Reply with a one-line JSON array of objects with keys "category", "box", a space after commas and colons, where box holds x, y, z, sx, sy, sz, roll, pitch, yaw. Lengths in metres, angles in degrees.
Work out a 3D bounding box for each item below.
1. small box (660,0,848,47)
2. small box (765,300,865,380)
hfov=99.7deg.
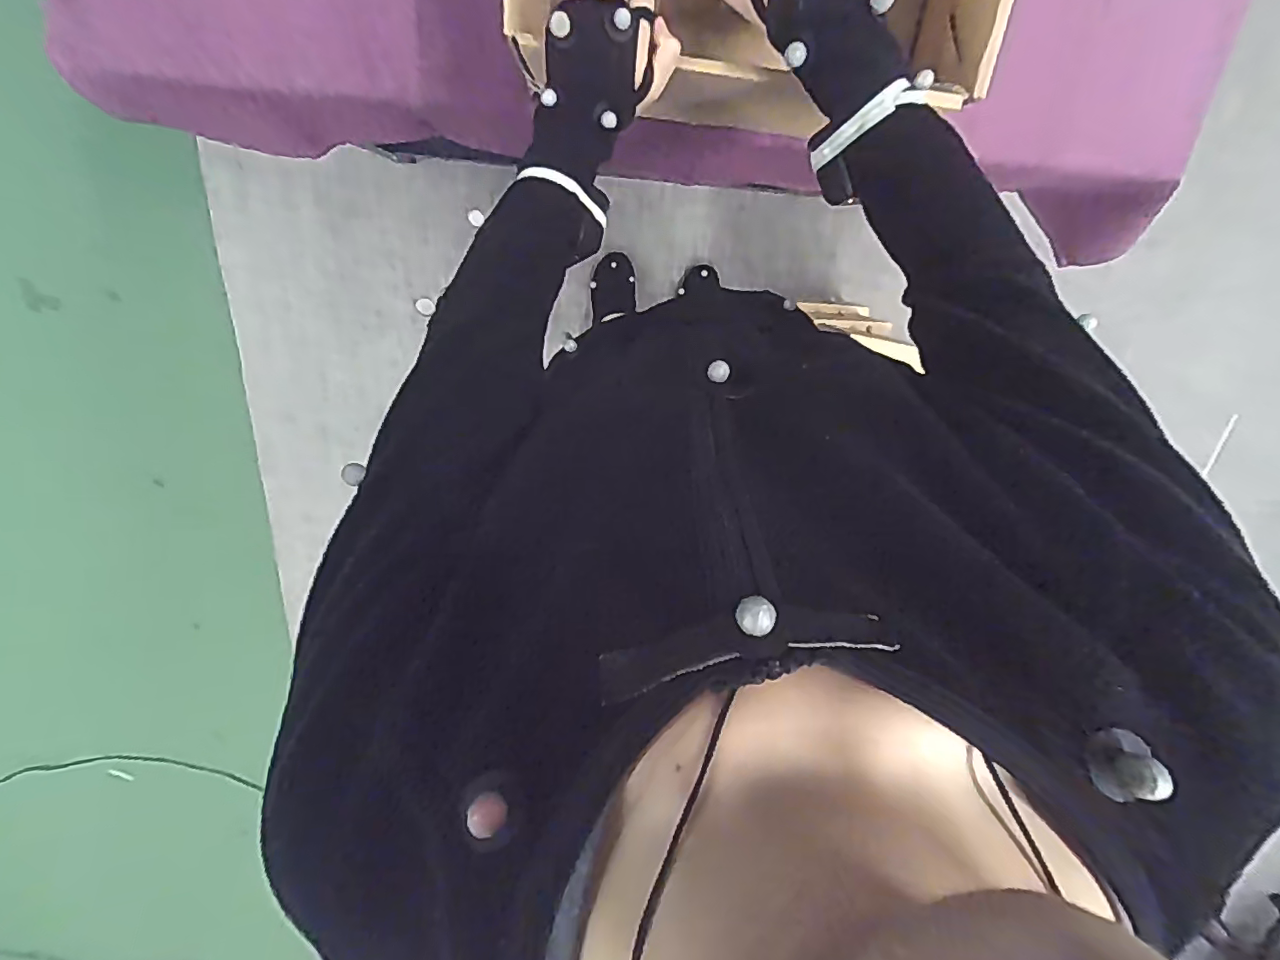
[{"category": "small box", "box": [0.107, -0.487, 0.435, 0.168, 0.176, 0.179, 5, 111, -3]}, {"category": "small box", "box": [0.426, -0.353, 1.345, 0.179, 0.176, 0.168, 3, 113, -2]}]
